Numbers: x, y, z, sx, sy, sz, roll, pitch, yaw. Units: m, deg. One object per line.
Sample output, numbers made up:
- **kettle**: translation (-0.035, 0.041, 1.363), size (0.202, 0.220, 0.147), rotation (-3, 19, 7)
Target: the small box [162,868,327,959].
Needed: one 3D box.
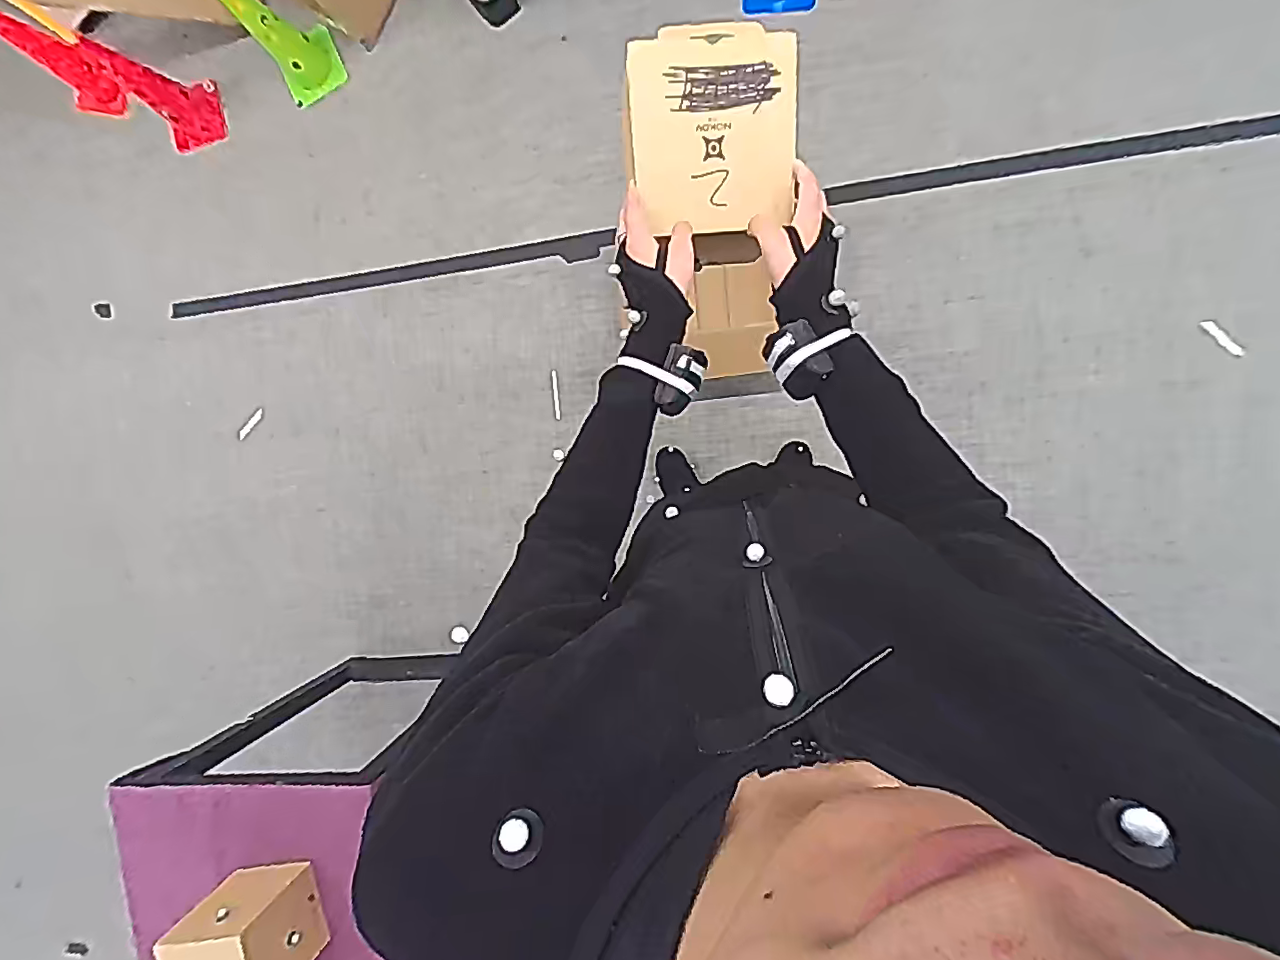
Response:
- **small box**: translation (-0.718, 0.862, 1.006), size (0.179, 0.176, 0.168), rotation (-12, 92, 10)
